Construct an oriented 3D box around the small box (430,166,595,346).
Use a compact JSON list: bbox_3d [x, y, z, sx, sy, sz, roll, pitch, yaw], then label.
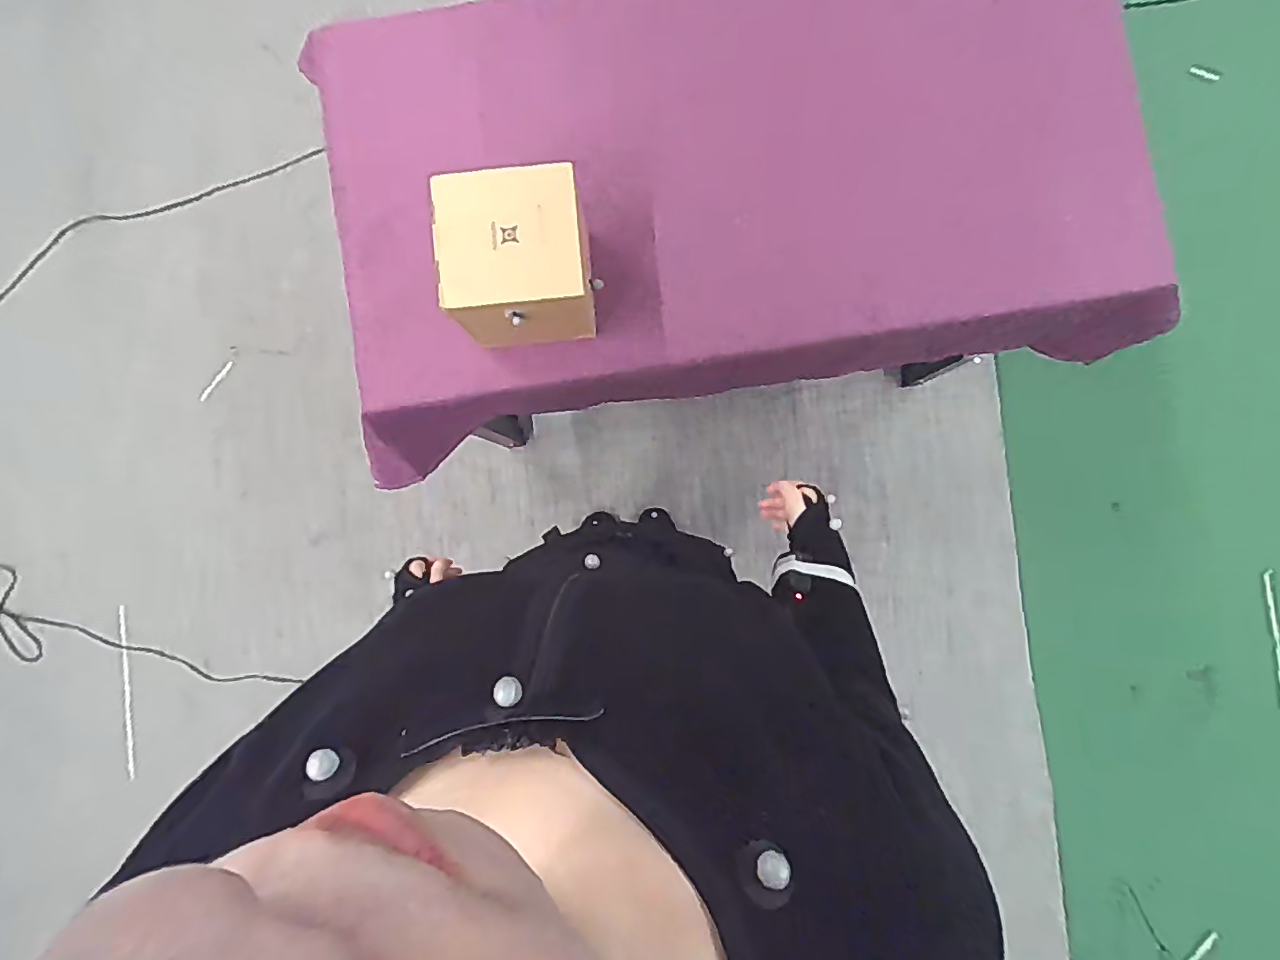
[{"bbox_3d":[-0.161,-0.288,0.731,0.179,0.176,0.168,-5,88,0],"label":"small box"}]
